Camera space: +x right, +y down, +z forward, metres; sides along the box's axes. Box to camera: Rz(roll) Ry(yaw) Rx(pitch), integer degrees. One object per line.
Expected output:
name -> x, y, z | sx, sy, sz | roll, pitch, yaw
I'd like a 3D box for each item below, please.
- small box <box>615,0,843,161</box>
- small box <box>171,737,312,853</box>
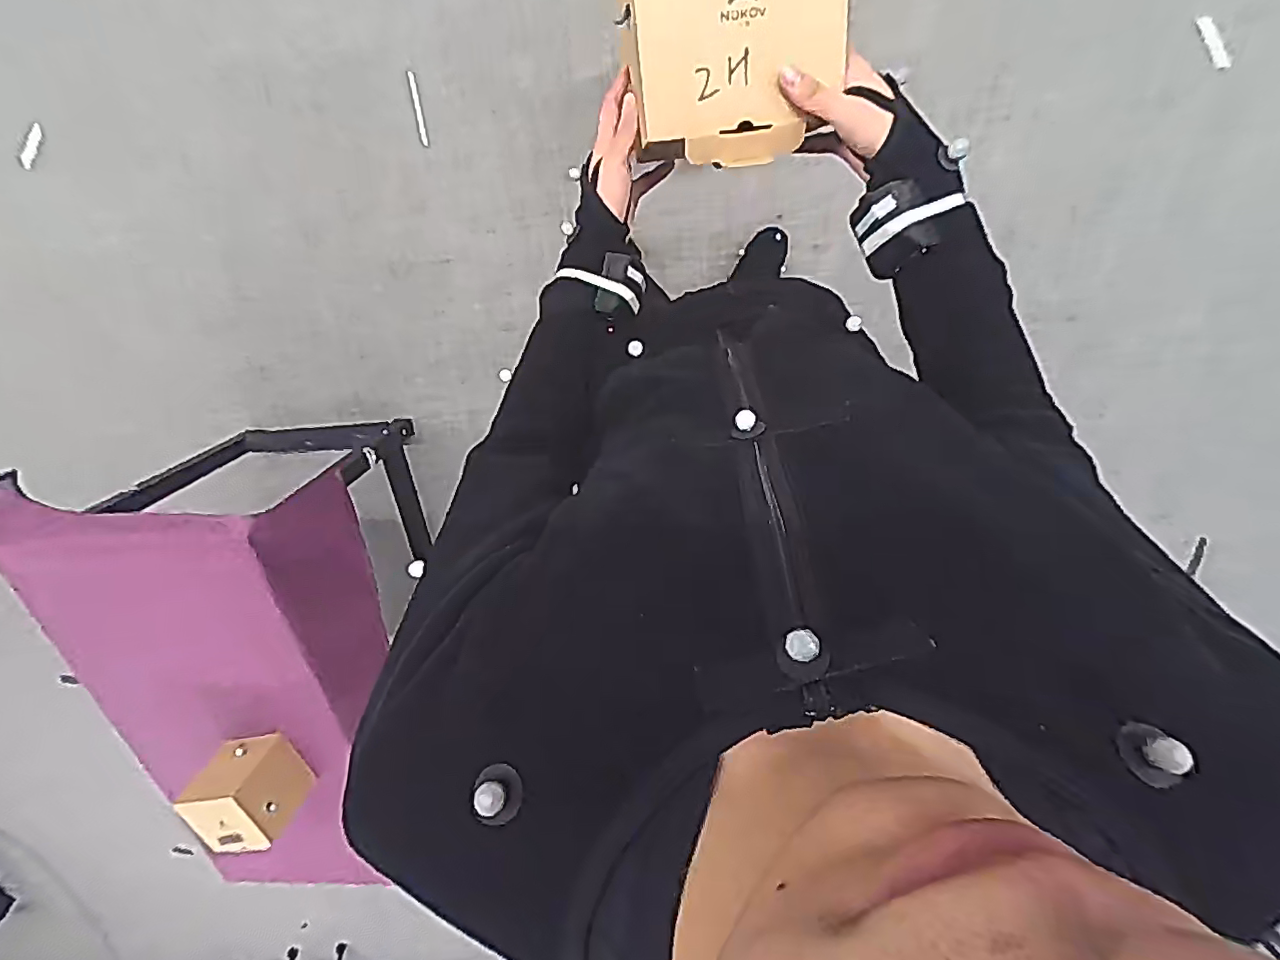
small box -> 0.067, -0.400, 0.480 | 0.168, 0.176, 0.179 | -7, 115, -1
small box -> -0.929, 0.745, 1.282 | 0.168, 0.176, 0.179 | -12, 114, 10
